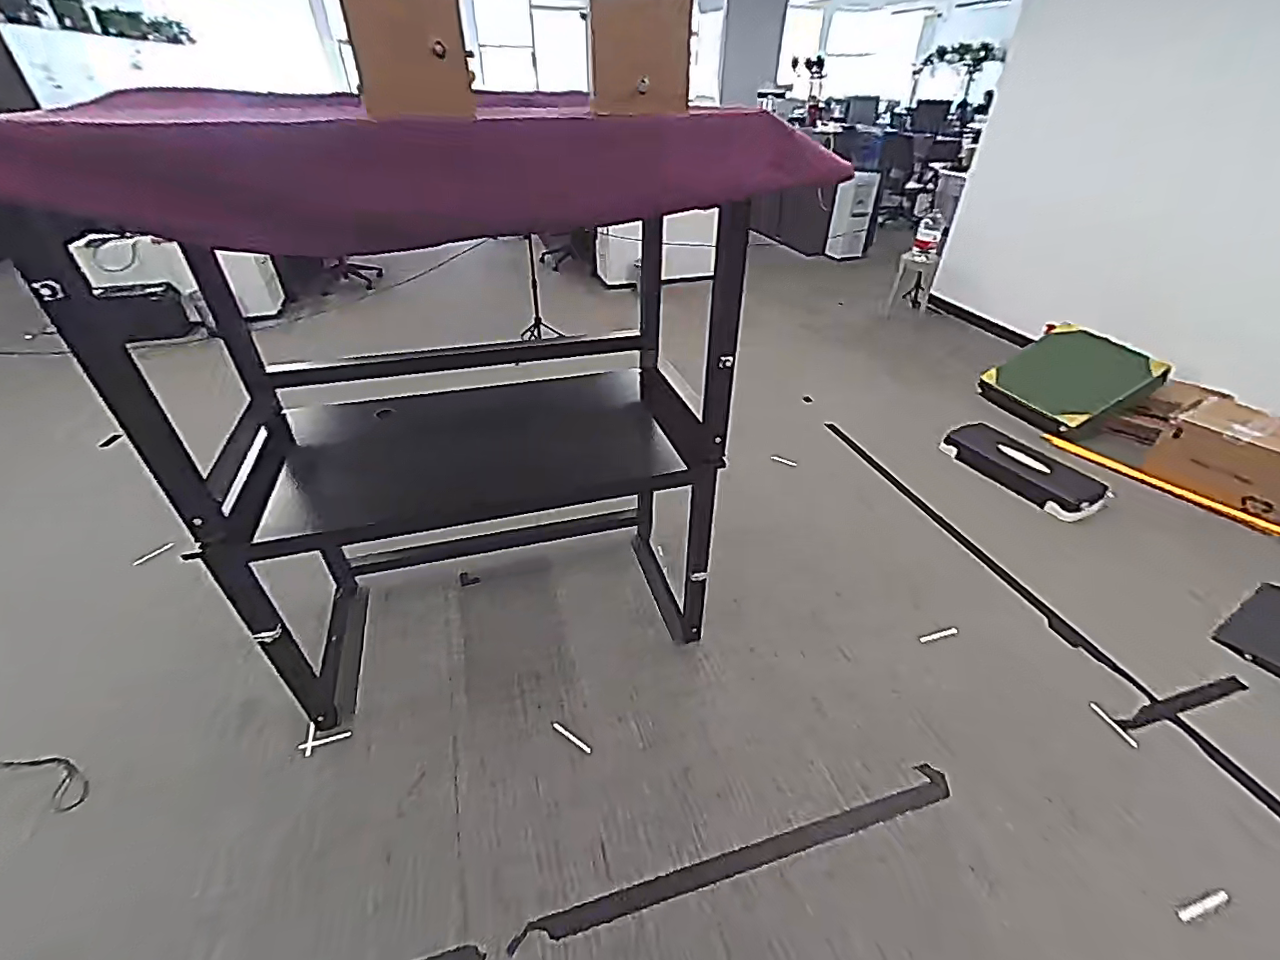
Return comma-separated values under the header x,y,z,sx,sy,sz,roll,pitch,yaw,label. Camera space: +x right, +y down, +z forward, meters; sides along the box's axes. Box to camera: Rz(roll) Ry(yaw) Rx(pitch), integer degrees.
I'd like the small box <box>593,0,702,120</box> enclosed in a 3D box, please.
x,y,z,sx,sy,sz,roll,pitch,yaw,label
0.005,-0.763,0.983,0.179,0.176,0.168,-3,36,-6,small box

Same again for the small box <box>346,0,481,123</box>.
x,y,z,sx,sy,sz,roll,pitch,yaw,label
-0.365,-0.704,0.903,0.179,0.176,0.168,-9,37,-13,small box
